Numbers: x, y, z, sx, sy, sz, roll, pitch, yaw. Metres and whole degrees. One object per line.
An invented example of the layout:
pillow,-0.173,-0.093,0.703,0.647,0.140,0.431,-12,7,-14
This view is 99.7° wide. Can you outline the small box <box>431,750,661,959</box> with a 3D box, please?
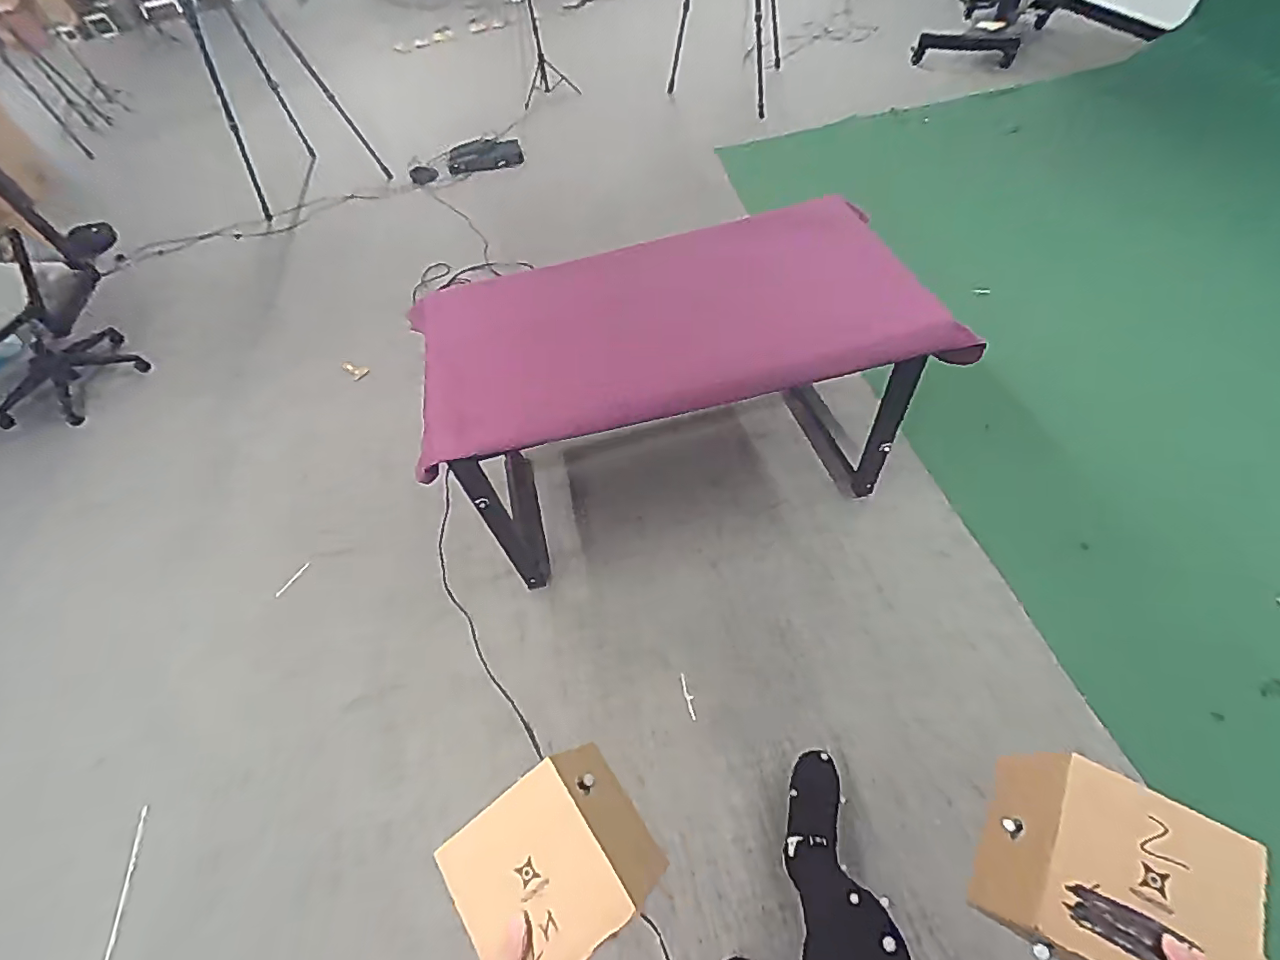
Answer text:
small box,-0.099,0.440,0.629,0.168,0.176,0.179,-39,66,-2
